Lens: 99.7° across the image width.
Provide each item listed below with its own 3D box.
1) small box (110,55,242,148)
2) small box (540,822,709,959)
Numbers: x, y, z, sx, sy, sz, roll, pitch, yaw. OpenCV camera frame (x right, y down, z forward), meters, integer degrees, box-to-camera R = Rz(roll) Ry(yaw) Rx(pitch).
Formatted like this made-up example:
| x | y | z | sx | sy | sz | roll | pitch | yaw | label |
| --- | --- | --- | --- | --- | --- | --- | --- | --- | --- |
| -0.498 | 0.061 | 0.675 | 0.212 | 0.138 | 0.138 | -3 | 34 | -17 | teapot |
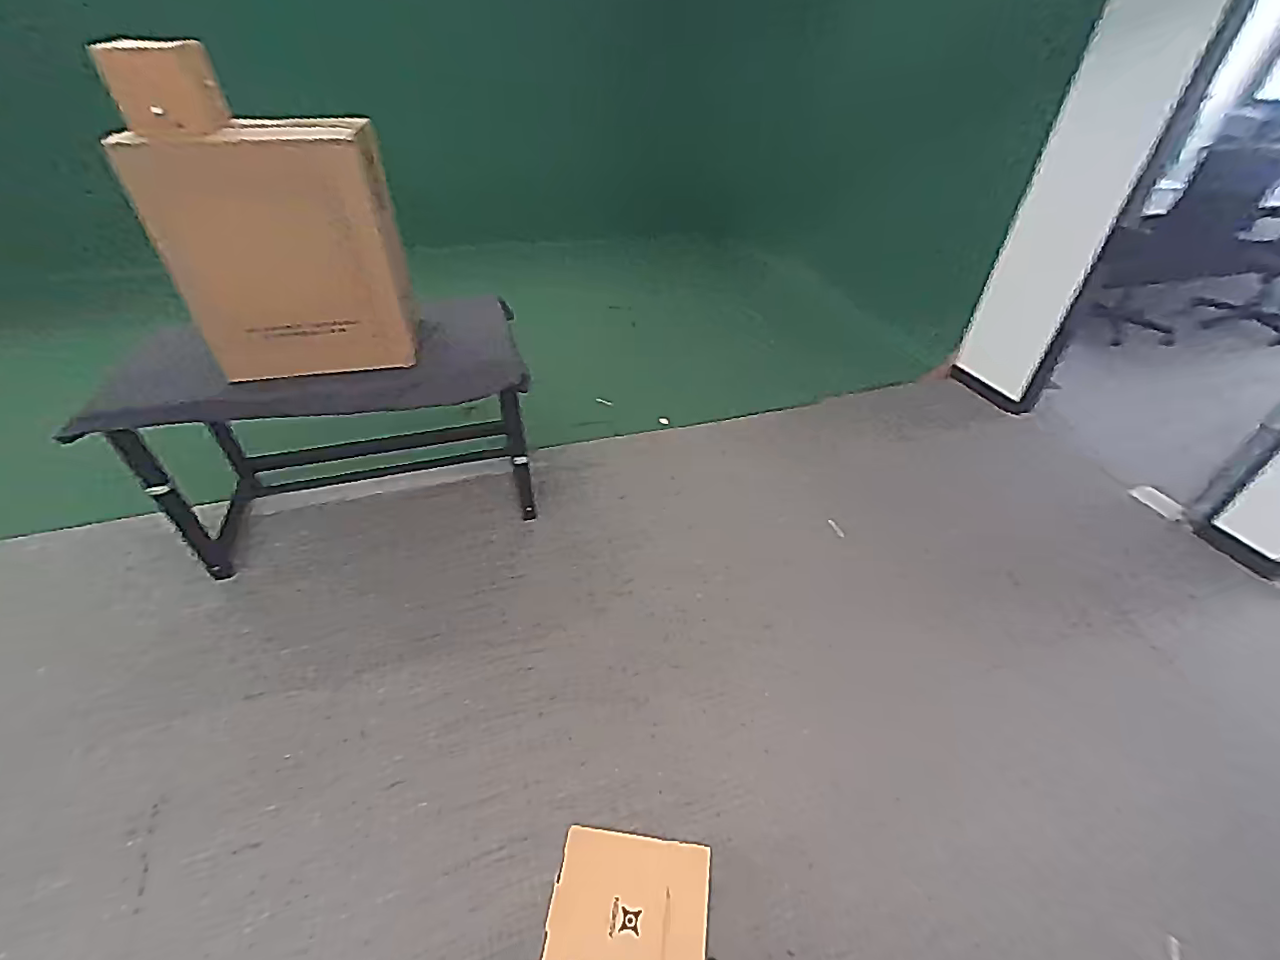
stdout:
| x | y | z | sx | sy | sz | roll | pitch | yaw | label |
| --- | --- | --- | --- | --- | --- | --- | --- | --- | --- |
| -1.118 | -0.928 | 1.325 | 0.168 | 0.176 | 0.179 | -9 | 43 | -11 | small box |
| -0.011 | 0.539 | 0.648 | 0.179 | 0.176 | 0.168 | 4 | 42 | 6 | small box |
